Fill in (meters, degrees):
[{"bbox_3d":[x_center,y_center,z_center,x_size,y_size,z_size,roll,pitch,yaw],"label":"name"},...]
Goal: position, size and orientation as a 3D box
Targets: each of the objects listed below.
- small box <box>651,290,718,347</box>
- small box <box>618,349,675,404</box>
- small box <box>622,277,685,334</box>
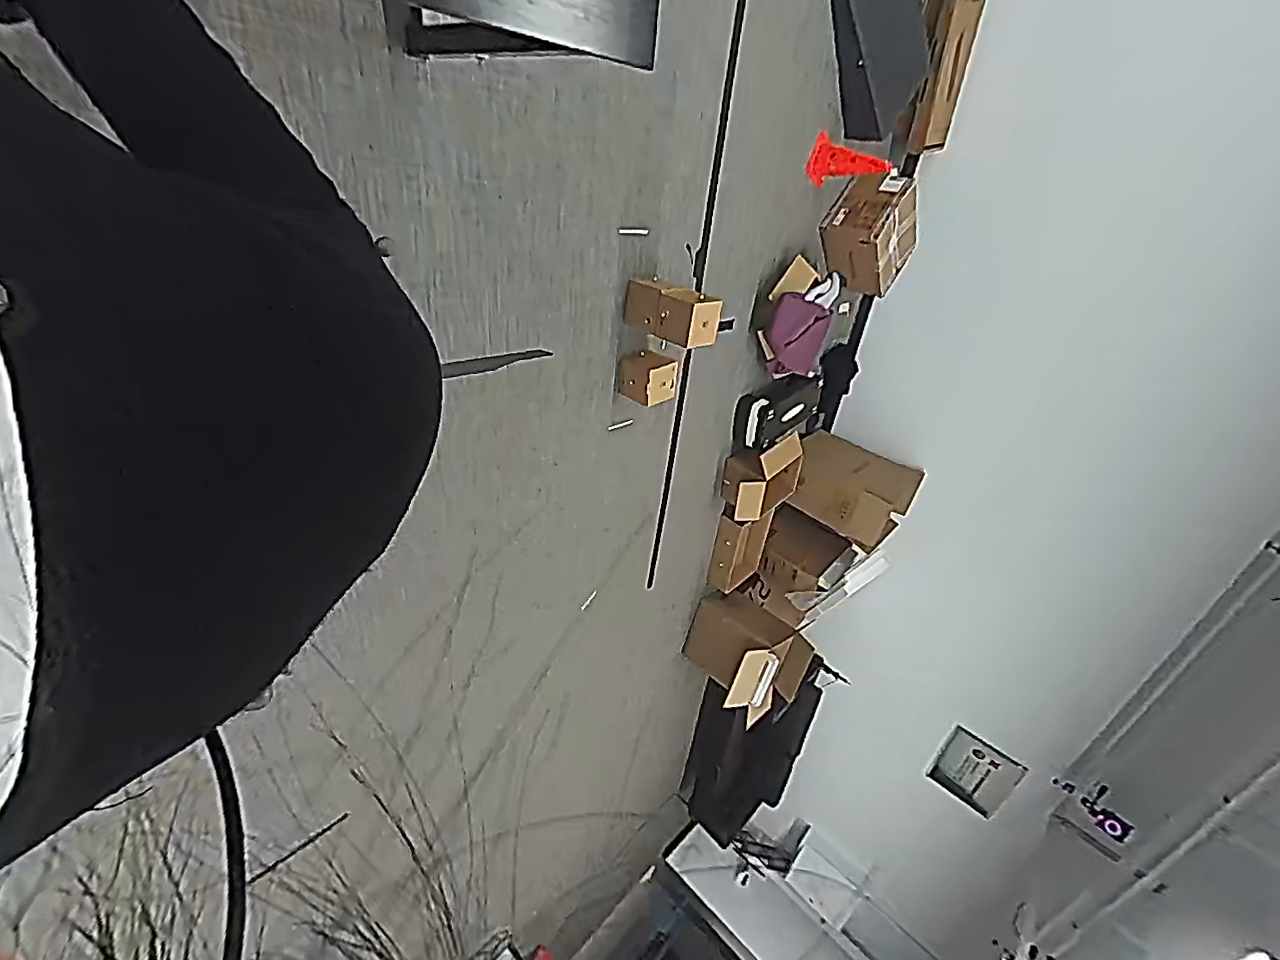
[{"bbox_3d":[0.167,-0.617,2.044,0.179,0.176,0.168,-23,131,-41],"label":"small box"},{"bbox_3d":[0.021,-0.442,2.288,0.179,0.176,0.168,-26,134,-39],"label":"small box"},{"bbox_3d":[0.048,-0.691,2.127,0.168,0.176,0.179,-23,132,-43],"label":"small box"}]
